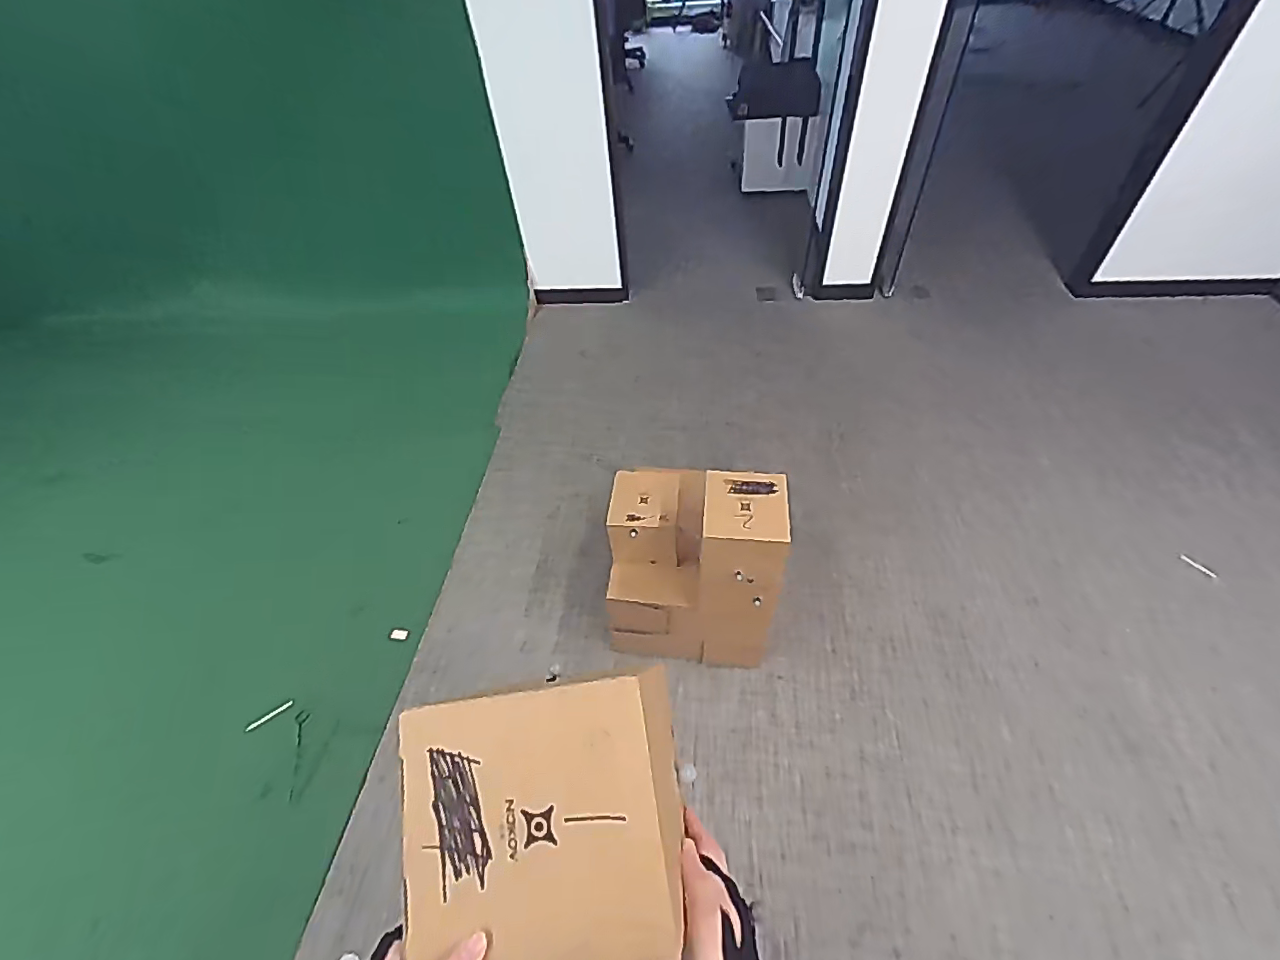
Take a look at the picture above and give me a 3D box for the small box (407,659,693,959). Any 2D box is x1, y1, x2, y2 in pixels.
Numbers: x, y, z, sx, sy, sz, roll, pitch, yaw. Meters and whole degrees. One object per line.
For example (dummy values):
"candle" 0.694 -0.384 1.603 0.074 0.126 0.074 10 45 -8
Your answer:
"small box" -0.059 0.241 0.430 0.179 0.176 0.168 -11 74 4

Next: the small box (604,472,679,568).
"small box" 0.010 0.100 1.369 0.168 0.176 0.179 2 47 8

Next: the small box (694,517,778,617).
"small box" 0.218 0.205 1.257 0.179 0.176 0.168 2 48 7
